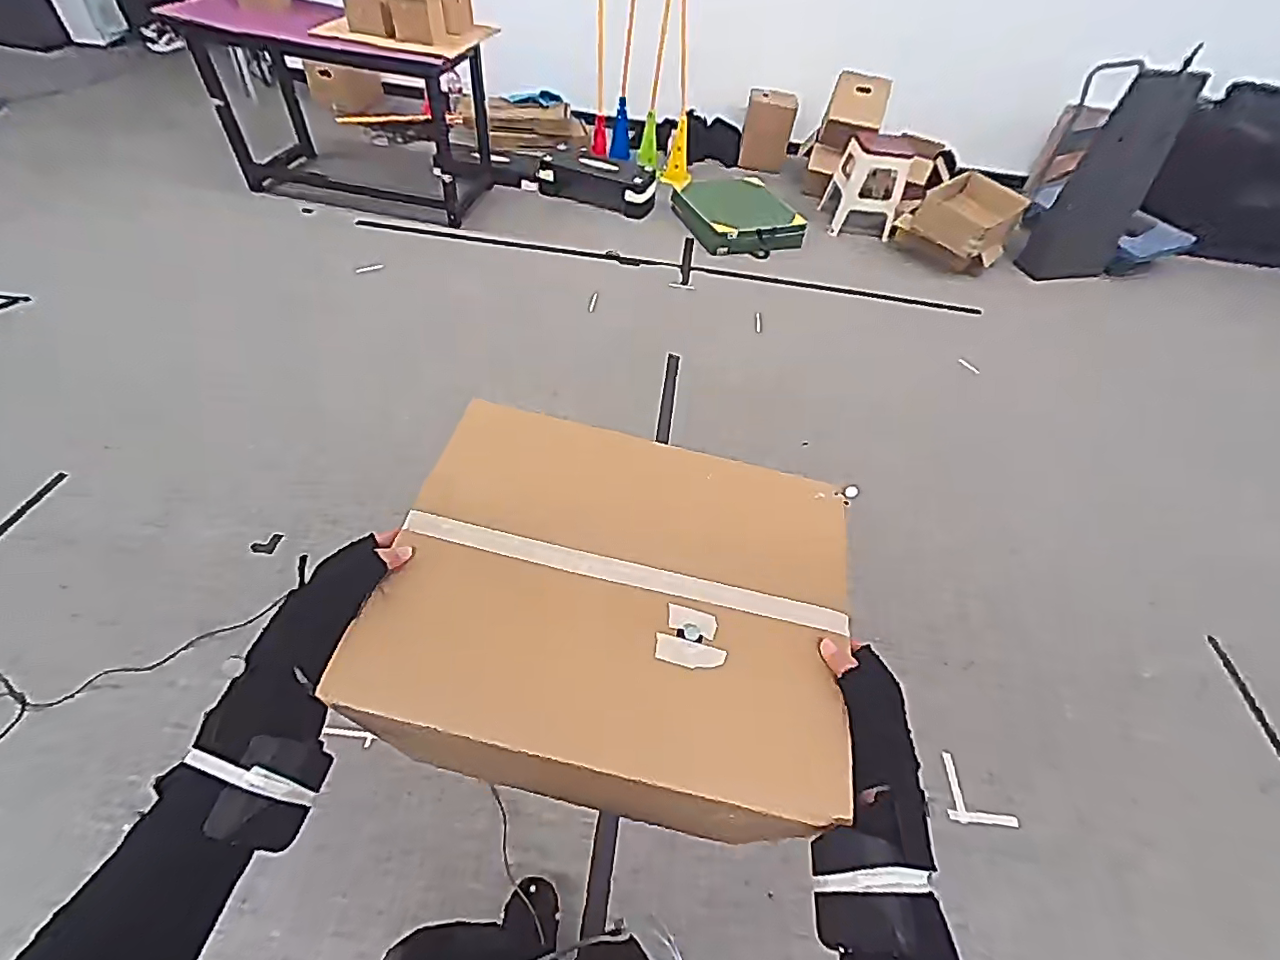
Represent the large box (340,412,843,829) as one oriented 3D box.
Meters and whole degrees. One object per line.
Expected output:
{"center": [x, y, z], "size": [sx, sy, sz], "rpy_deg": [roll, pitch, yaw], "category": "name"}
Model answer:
{"center": [-0.031, 0.172, 0.617], "size": [0.408, 0.320, 0.320], "rpy_deg": [14, 55, 1], "category": "large box"}
